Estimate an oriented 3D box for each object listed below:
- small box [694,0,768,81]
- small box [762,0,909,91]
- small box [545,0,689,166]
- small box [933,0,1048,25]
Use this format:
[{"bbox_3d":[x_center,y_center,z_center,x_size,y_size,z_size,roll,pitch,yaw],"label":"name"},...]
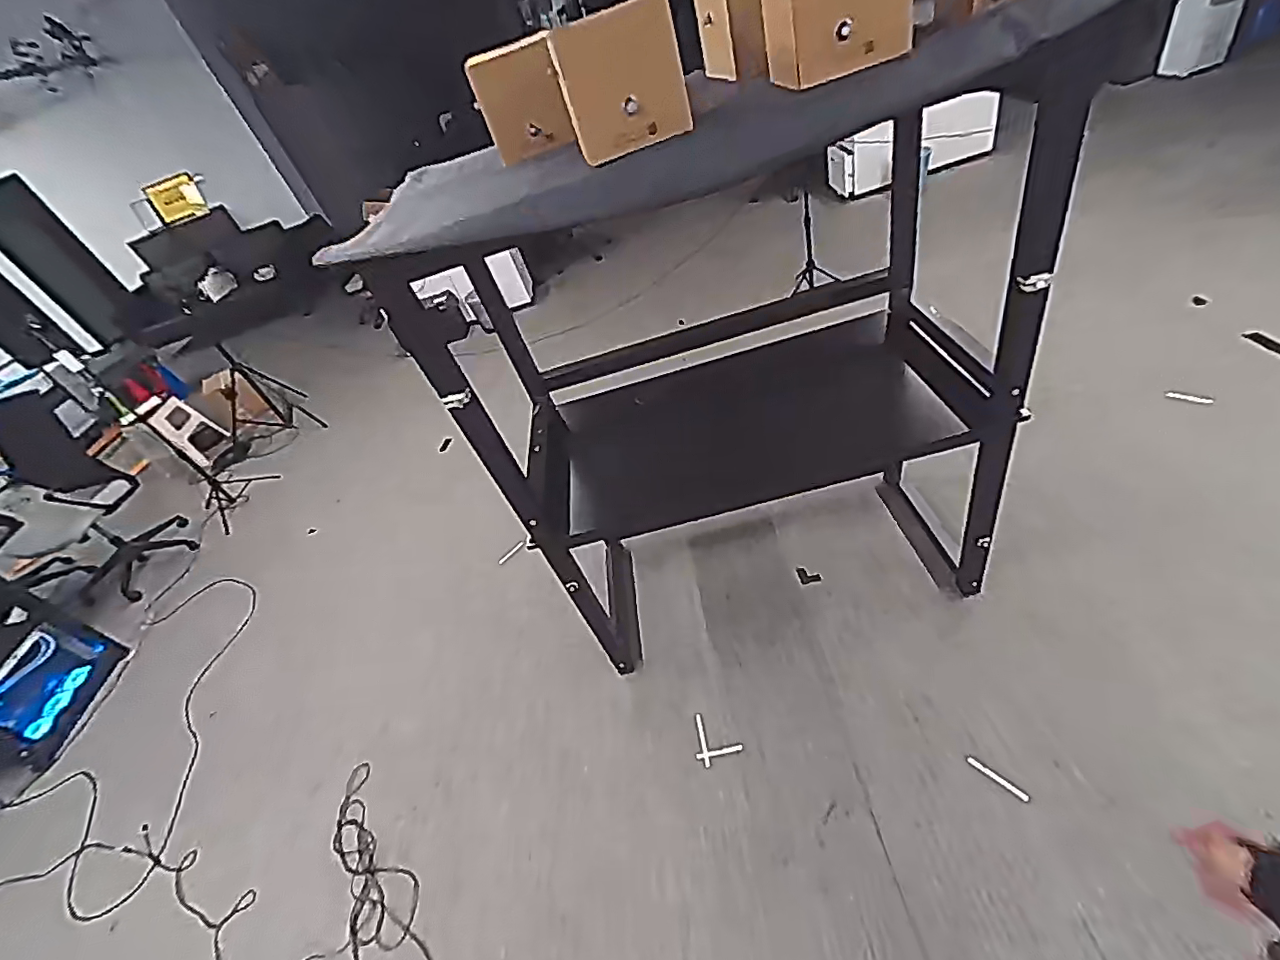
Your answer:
[{"bbox_3d":[0.209,-0.890,1.035,0.168,0.176,0.179,-22,41,0],"label":"small box"},{"bbox_3d":[0.283,-0.707,0.807,0.168,0.176,0.179,-16,40,7],"label":"small box"},{"bbox_3d":[-0.036,-0.604,0.827,0.168,0.176,0.179,-19,39,3],"label":"small box"},{"bbox_3d":[0.544,-0.797,0.789,0.168,0.176,0.179,-10,40,14],"label":"small box"}]
